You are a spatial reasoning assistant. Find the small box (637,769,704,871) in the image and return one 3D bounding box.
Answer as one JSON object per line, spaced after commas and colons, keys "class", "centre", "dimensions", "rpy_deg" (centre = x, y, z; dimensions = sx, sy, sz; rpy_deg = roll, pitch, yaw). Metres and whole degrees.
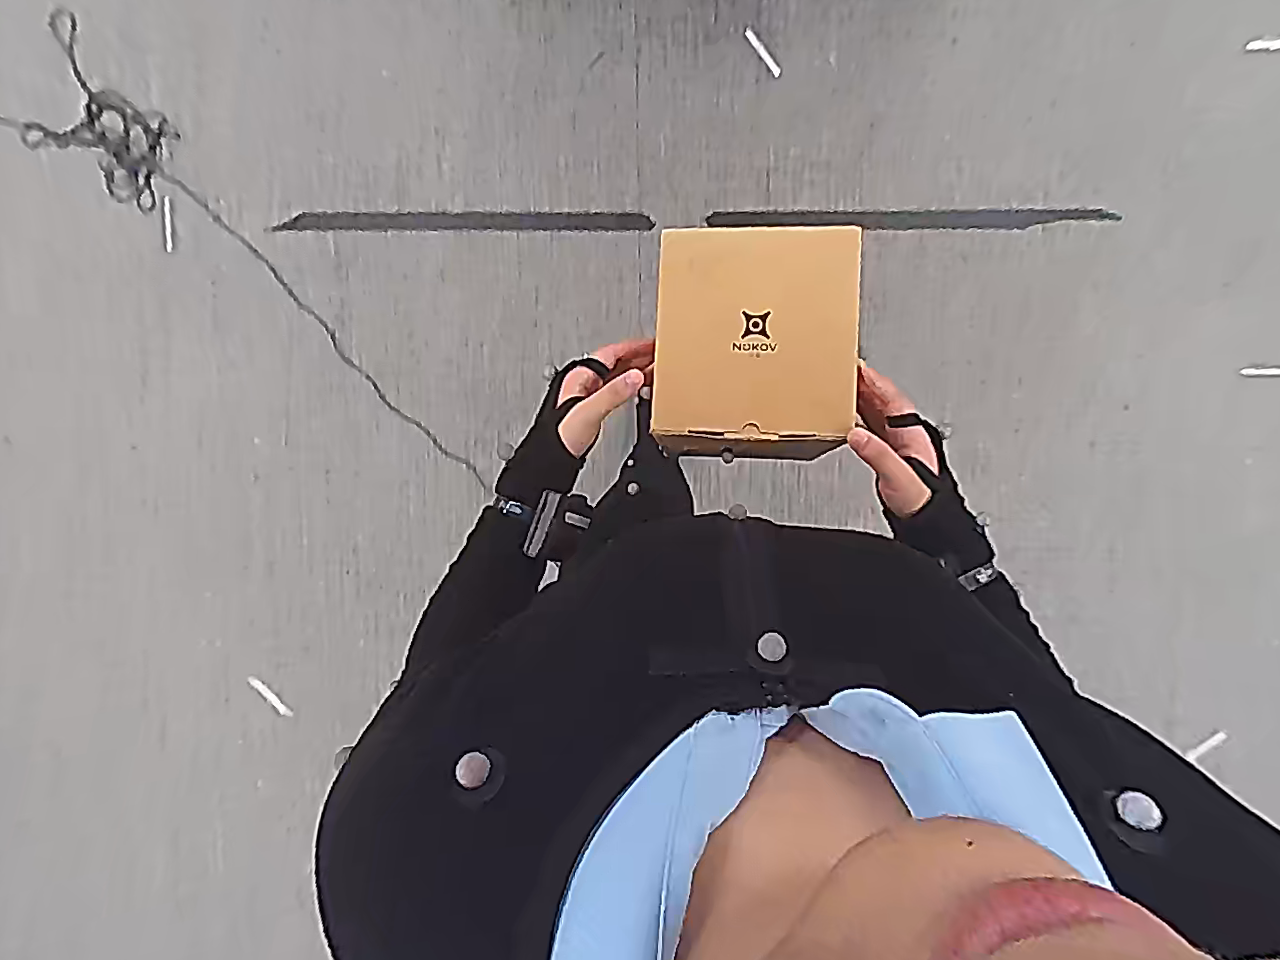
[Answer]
{"class": "small box", "centre": [0.078, 0.895, 1.442], "dimensions": [0.168, 0.176, 0.179], "rpy_deg": [-4, 94, 2]}
